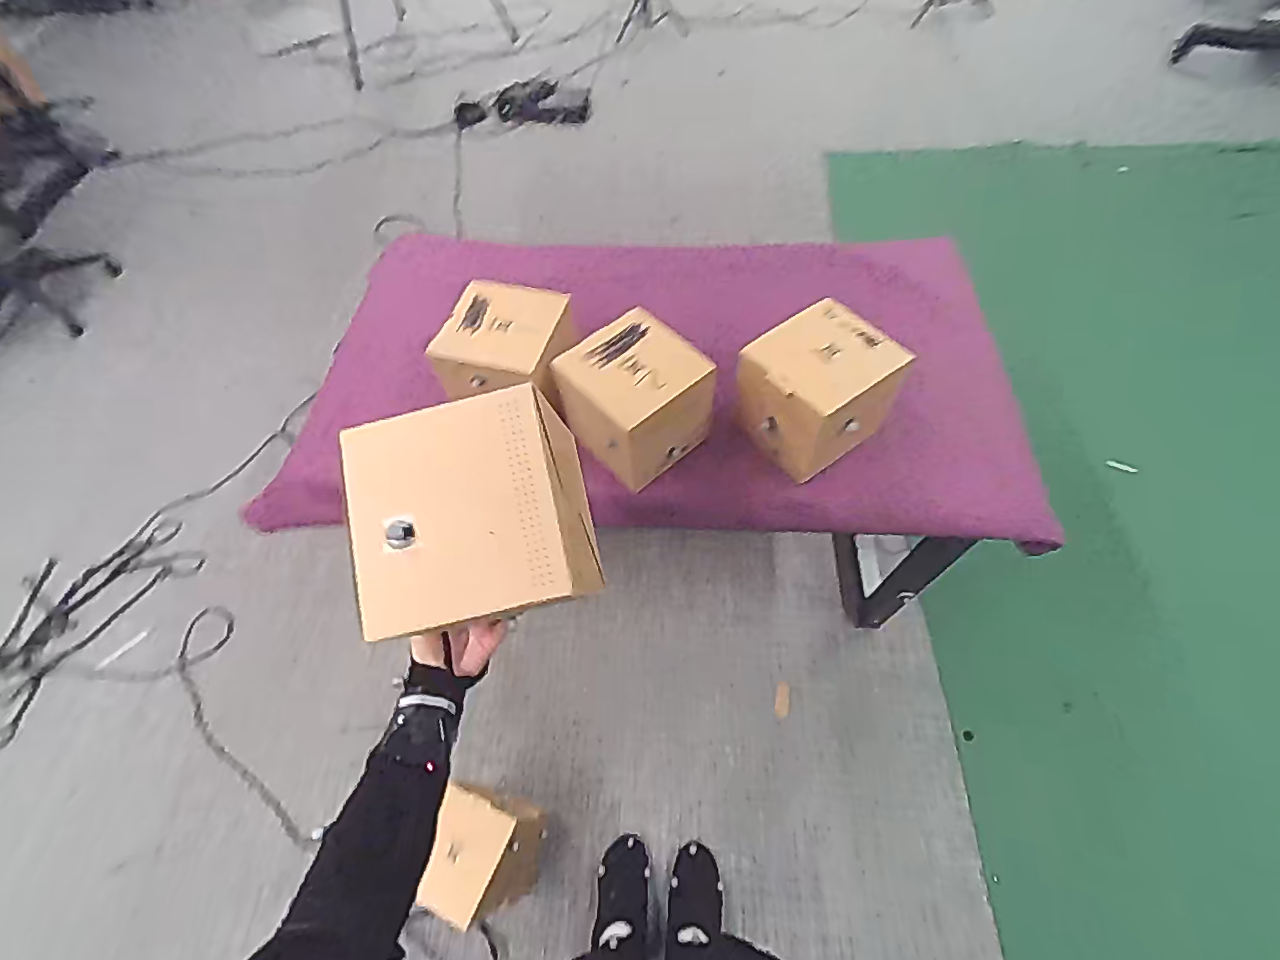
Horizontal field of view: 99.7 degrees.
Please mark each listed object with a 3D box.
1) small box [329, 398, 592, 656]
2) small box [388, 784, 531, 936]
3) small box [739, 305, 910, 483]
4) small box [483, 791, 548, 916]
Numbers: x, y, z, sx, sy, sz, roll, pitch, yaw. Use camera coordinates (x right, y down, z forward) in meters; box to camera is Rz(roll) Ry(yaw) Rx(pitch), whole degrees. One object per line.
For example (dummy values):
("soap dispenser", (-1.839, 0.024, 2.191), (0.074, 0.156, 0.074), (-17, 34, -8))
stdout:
("small box", (-0.147, 0.047, 0.498), (0.176, 0.168, 0.179), (-13, 78, 2))
("small box", (-0.328, 0.707, 1.025), (0.168, 0.176, 0.179), (19, 62, 15))
("small box", (0.267, -0.126, 0.830), (0.179, 0.176, 0.168), (-33, 62, -15))
("small box", (-0.311, 0.789, 1.164), (0.168, 0.176, 0.179), (14, 61, 12))
